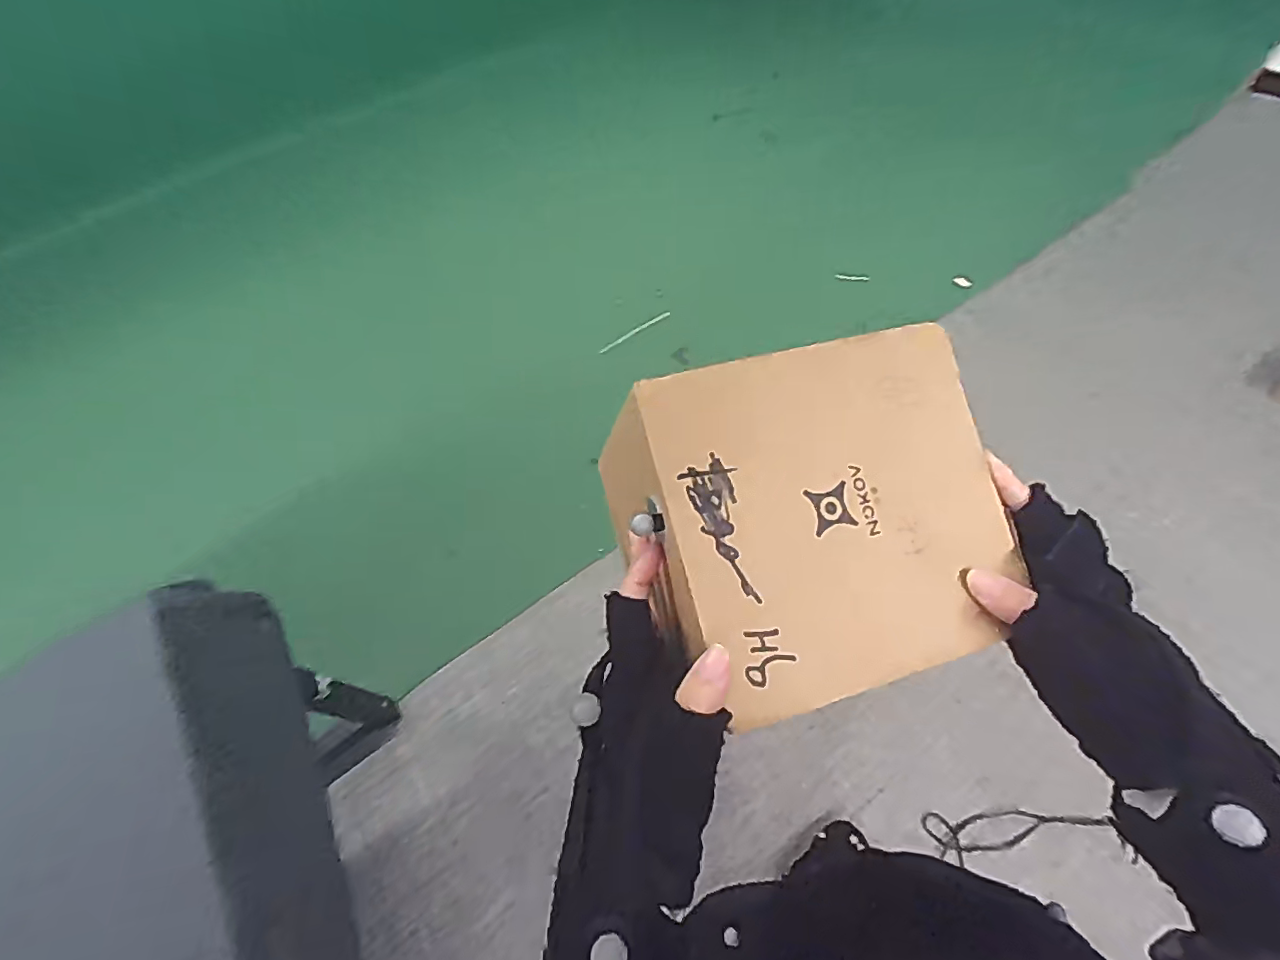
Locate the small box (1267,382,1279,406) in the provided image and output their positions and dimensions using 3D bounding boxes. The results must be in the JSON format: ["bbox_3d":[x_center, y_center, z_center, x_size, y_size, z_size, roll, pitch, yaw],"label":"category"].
[{"bbox_3d":[1.913,-0.268,1.474,0.168,0.176,0.179,-36,59,-16],"label":"small box"}]

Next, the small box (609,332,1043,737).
[{"bbox_3d":[0.090,0.030,0.345,0.179,0.176,0.168,-16,83,-12],"label":"small box"}]
